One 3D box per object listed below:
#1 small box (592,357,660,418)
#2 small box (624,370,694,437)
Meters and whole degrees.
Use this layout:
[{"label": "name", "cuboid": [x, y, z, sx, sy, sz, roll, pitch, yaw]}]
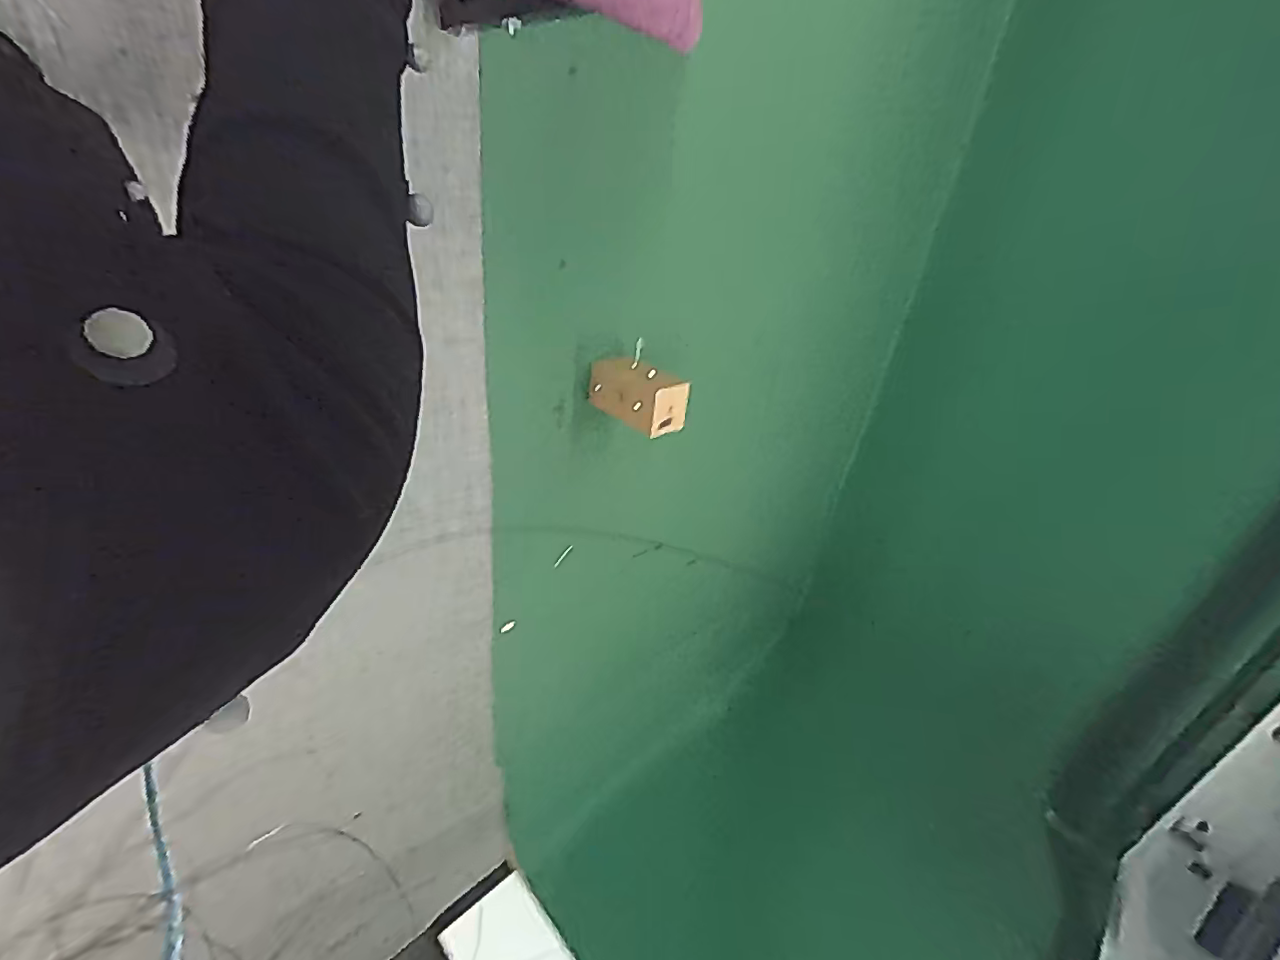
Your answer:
[{"label": "small box", "cuboid": [-0.054, -0.349, 2.005, 0.179, 0.176, 0.168, -20, 128, -39]}, {"label": "small box", "cuboid": [0.061, -0.274, 1.910, 0.168, 0.176, 0.179, -19, 129, -42]}]
